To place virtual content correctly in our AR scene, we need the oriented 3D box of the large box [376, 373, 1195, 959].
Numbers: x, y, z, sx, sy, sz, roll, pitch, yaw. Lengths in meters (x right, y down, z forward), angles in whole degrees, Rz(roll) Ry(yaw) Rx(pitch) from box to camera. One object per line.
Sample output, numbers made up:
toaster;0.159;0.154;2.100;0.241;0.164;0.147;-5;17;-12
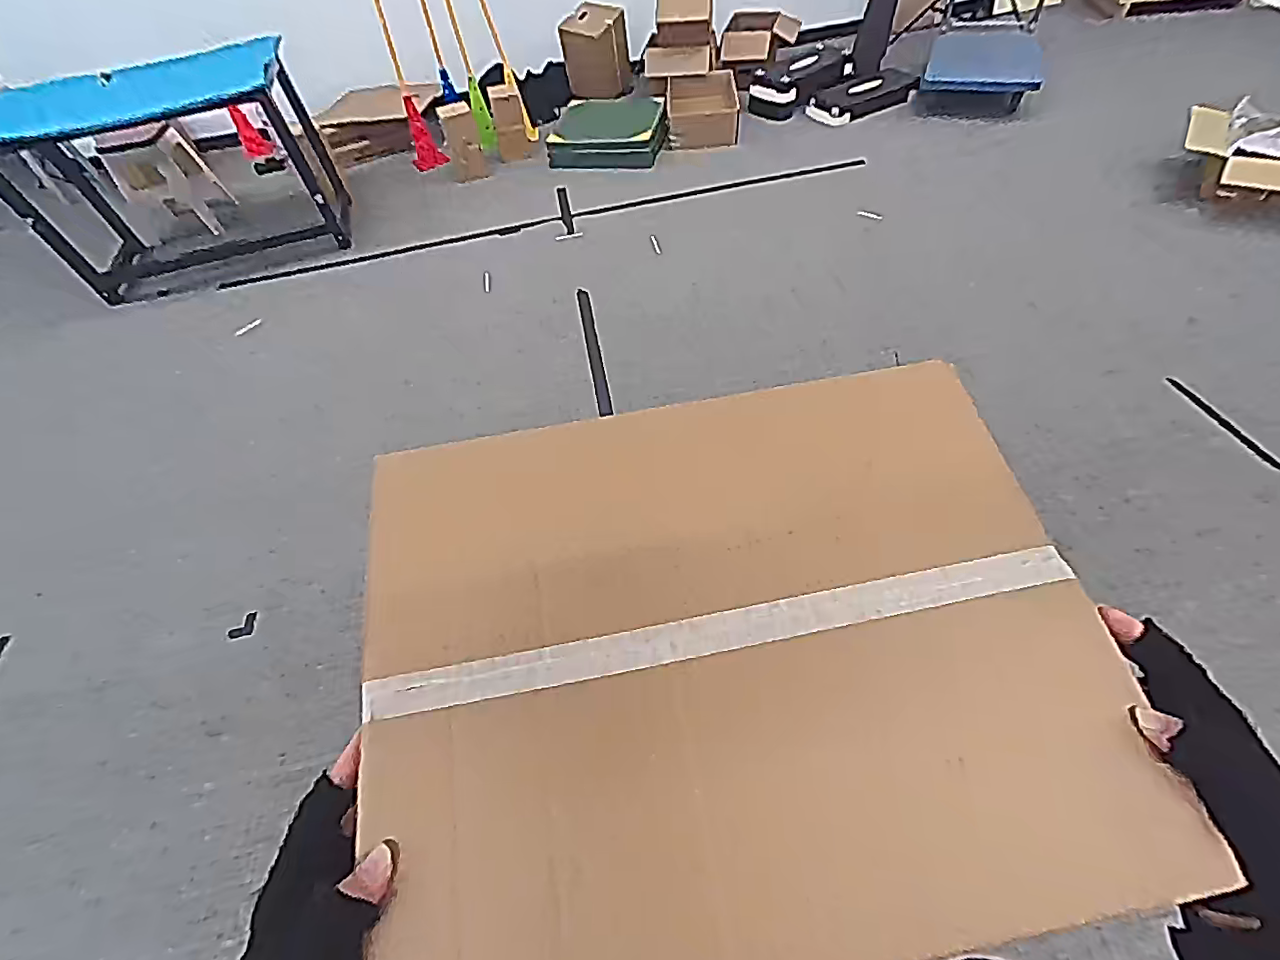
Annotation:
large box;0.056;0.157;0.447;0.408;0.320;0.320;-11;63;-3
